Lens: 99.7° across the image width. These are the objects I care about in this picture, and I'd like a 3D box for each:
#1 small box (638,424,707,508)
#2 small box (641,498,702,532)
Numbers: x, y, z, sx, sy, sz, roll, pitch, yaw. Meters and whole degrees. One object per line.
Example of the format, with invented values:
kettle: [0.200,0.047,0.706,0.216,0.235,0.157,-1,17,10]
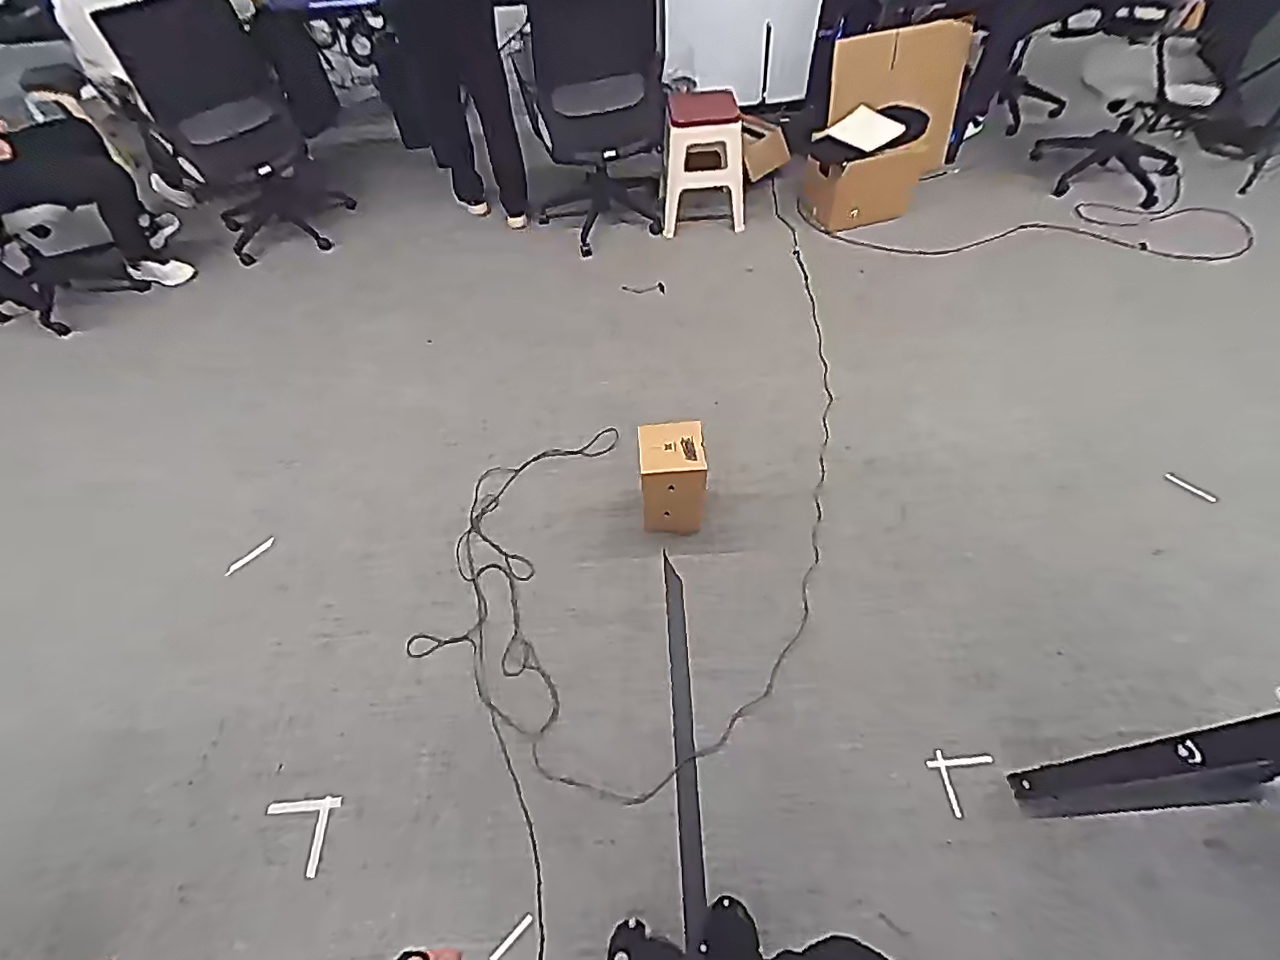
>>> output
small box: [0.087,-0.035,1.504,0.179,0.176,0.168,-4,55,1]
small box: [0.100,0.049,1.646,0.179,0.176,0.168,1,55,5]
